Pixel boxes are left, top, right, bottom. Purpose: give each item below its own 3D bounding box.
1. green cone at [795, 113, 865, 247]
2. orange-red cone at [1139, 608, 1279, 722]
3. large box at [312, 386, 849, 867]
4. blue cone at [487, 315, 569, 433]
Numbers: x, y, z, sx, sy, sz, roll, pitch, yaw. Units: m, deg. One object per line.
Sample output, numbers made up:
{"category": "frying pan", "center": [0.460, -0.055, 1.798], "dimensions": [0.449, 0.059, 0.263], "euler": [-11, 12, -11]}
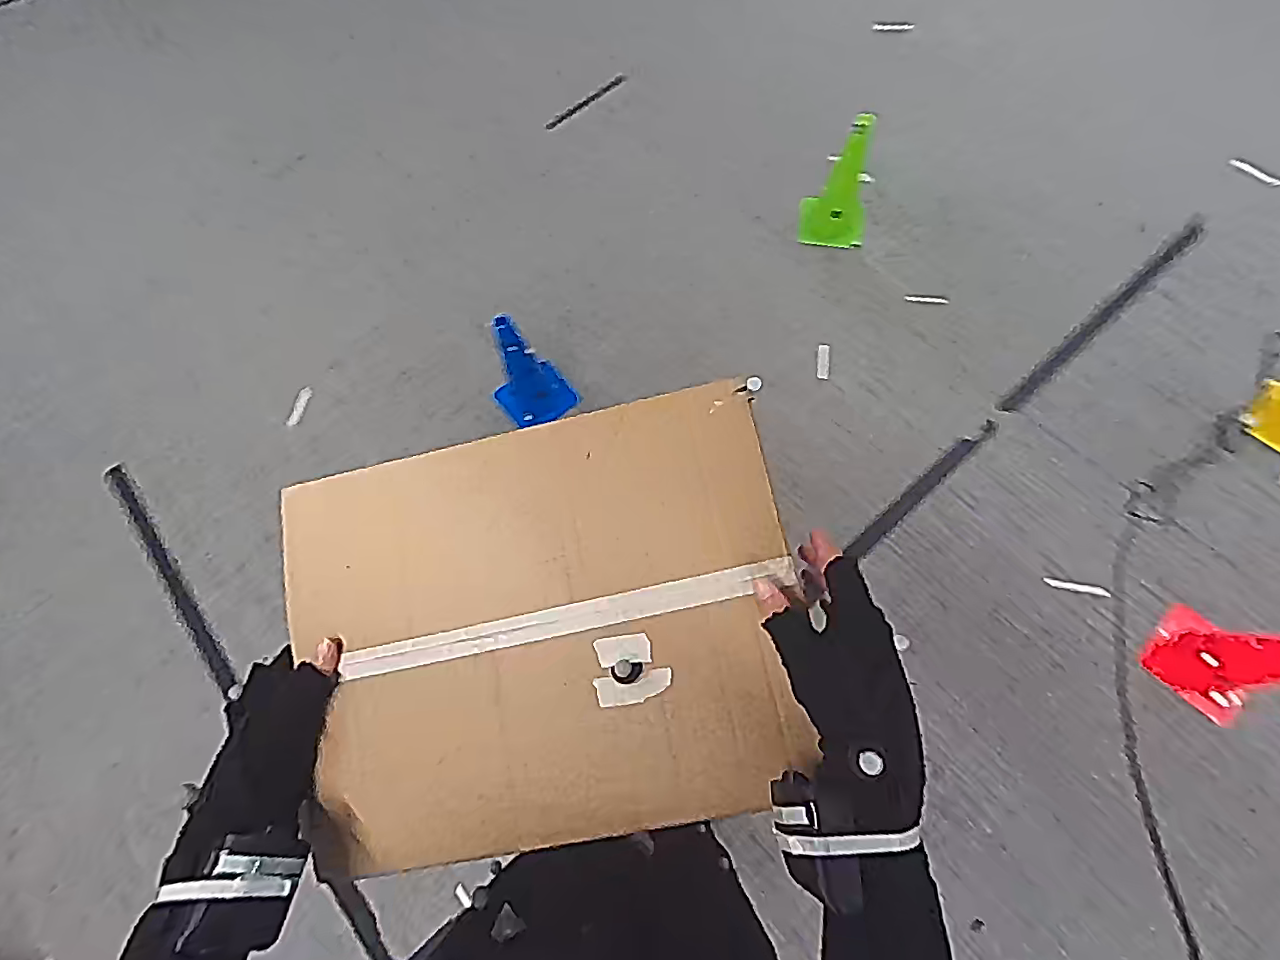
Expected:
{"category": "green cone", "center": [0.607, -0.913, 1.625], "dimensions": [0.202, 0.368, 0.200], "euler": [9, 69, 8]}
{"category": "orange-red cone", "center": [1.284, 0.362, 1.096], "dimensions": [0.199, 0.360, 0.198], "euler": [-42, 73, -14]}
{"category": "large box", "center": [-0.054, 0.138, 0.577], "dimensions": [0.408, 0.320, 0.320], "euler": [-12, 79, 4]}
{"category": "blue cone", "center": [-0.335, -0.306, 1.465], "dimensions": [0.193, 0.380, 0.192], "euler": [-37, 70, -11]}
